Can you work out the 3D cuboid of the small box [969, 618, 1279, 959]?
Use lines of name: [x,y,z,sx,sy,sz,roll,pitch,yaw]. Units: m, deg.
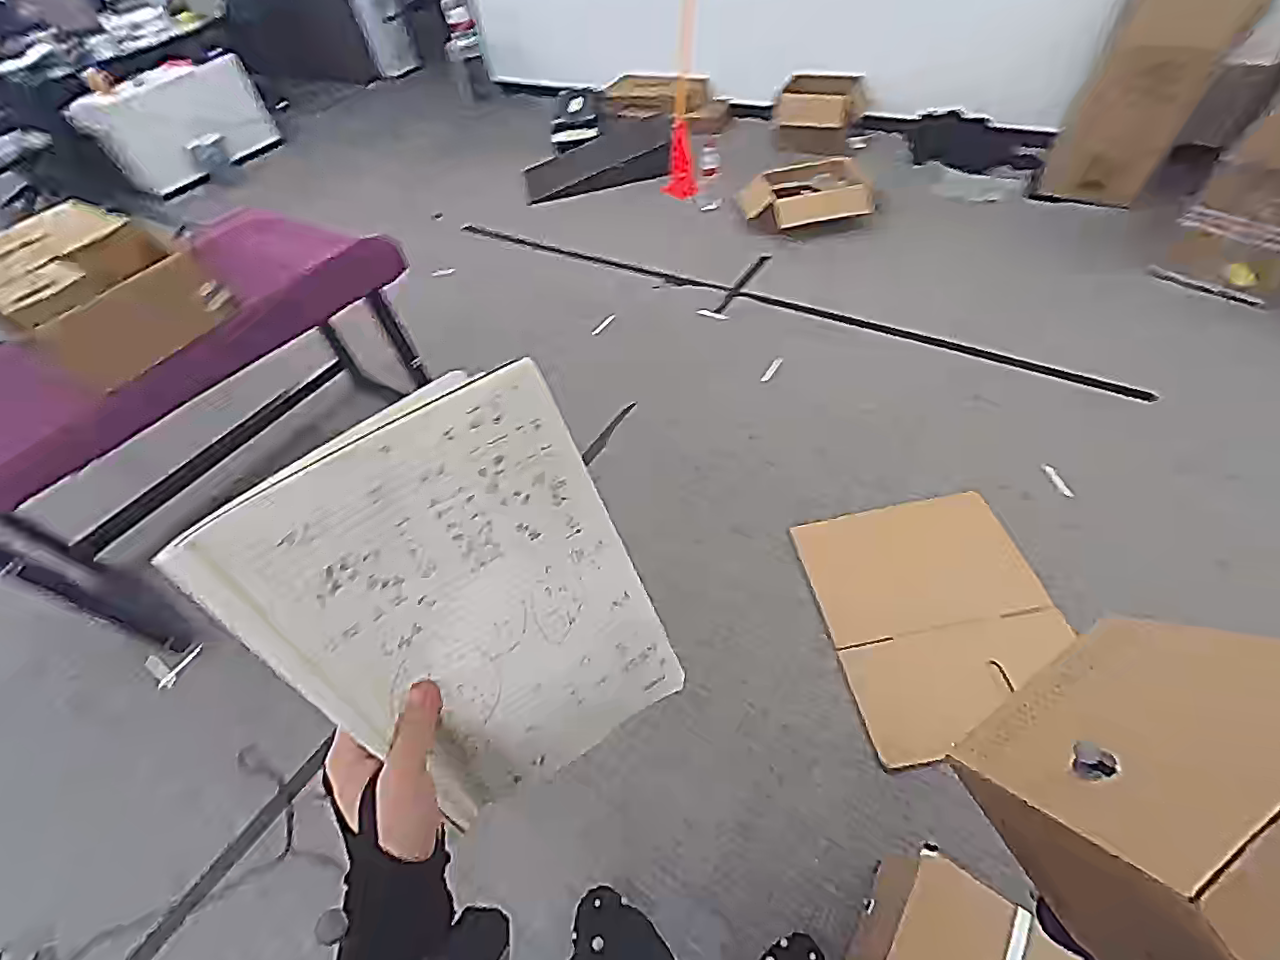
small box: [0.341,0.207,0.323,0.179,0.176,0.168,-36,90,-9]
